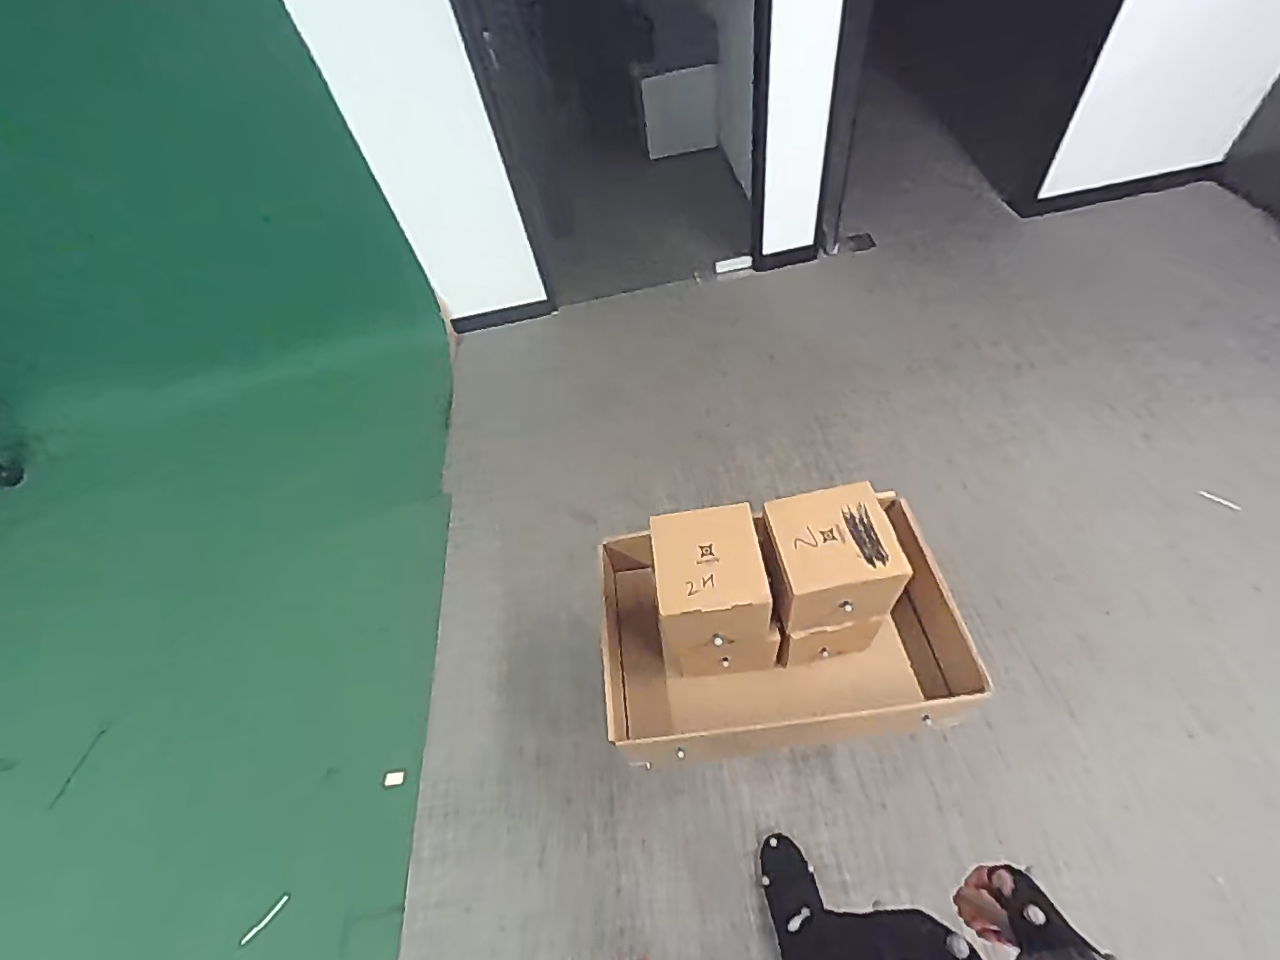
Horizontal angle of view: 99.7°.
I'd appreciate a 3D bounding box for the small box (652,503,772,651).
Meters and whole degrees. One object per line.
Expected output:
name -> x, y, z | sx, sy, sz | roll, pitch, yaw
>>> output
small box -> 0.114, 0.162, 0.894 | 0.168, 0.176, 0.179 | -8, 53, 4
